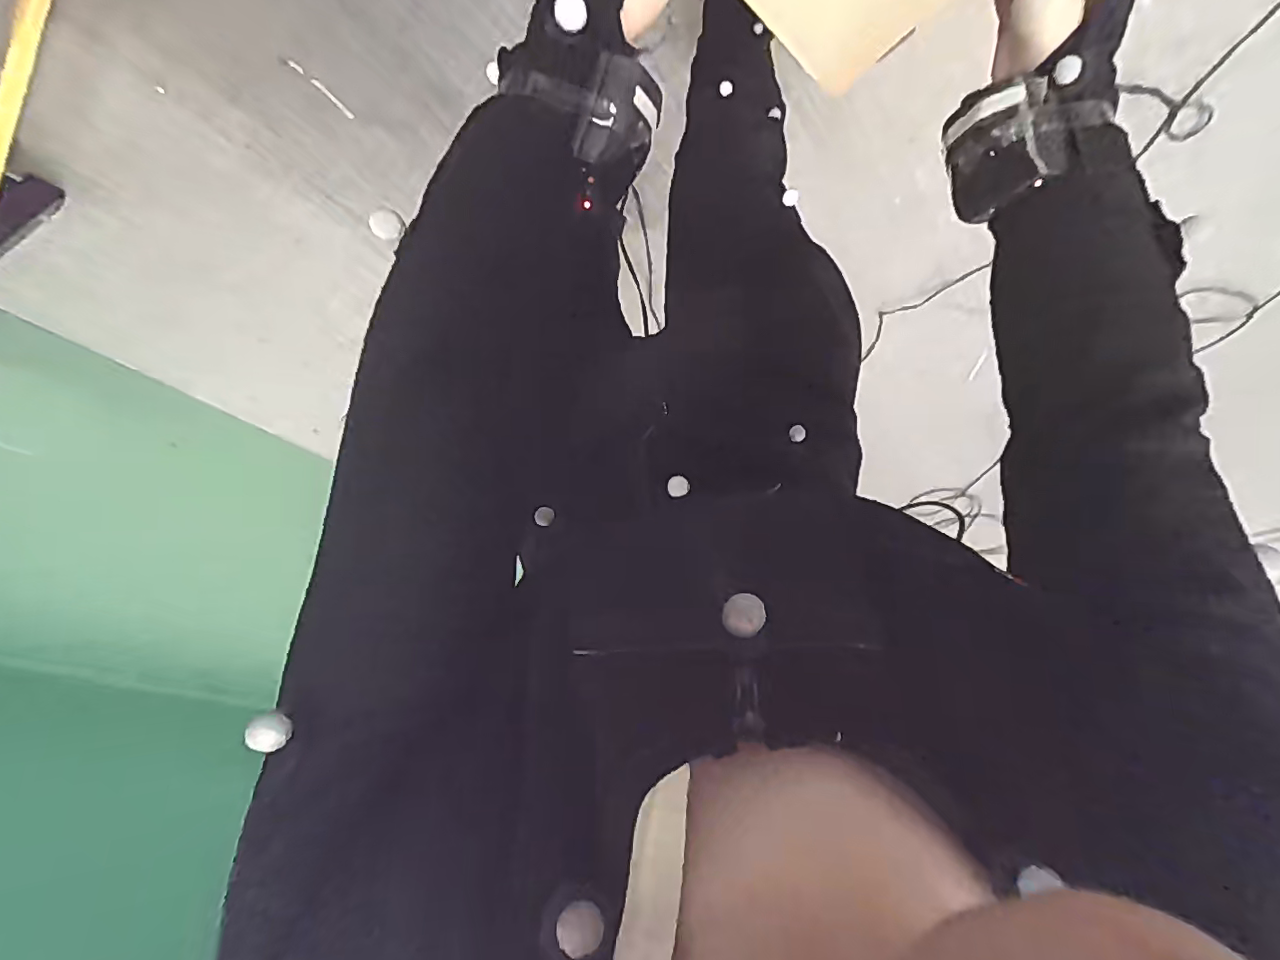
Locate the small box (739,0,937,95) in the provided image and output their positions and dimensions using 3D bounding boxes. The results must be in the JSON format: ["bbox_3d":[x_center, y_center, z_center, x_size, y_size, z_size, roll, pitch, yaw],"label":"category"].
[{"bbox_3d":[0.123,-0.396,0.315,0.179,0.176,0.168,19,152,-34],"label":"small box"}]
